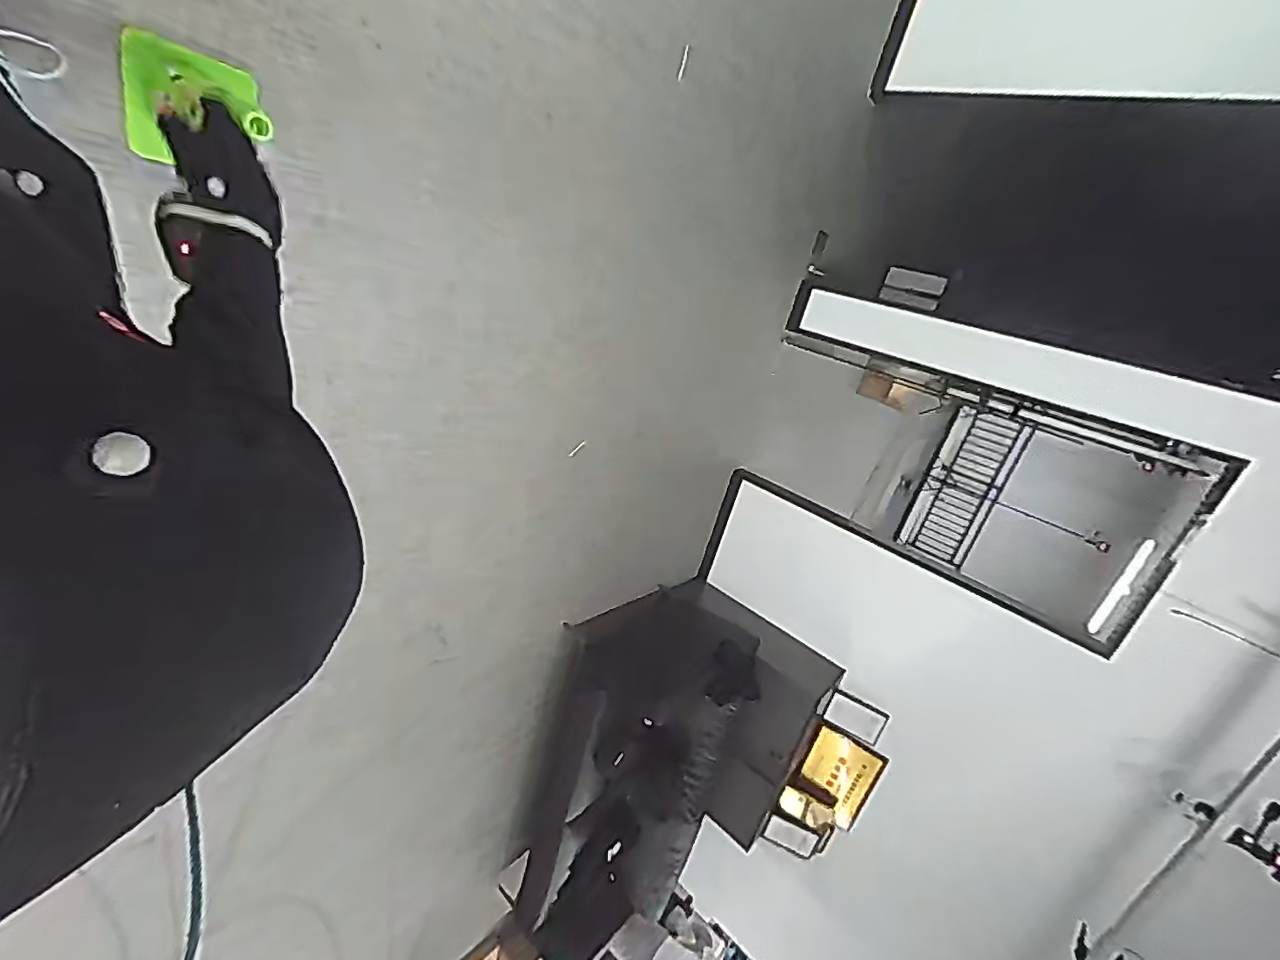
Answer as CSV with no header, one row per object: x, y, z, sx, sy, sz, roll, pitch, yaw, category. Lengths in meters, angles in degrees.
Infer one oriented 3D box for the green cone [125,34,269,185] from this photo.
-0.719,-0.625,0.936,0.202,0.368,0.200,-10,122,-48,green cone
